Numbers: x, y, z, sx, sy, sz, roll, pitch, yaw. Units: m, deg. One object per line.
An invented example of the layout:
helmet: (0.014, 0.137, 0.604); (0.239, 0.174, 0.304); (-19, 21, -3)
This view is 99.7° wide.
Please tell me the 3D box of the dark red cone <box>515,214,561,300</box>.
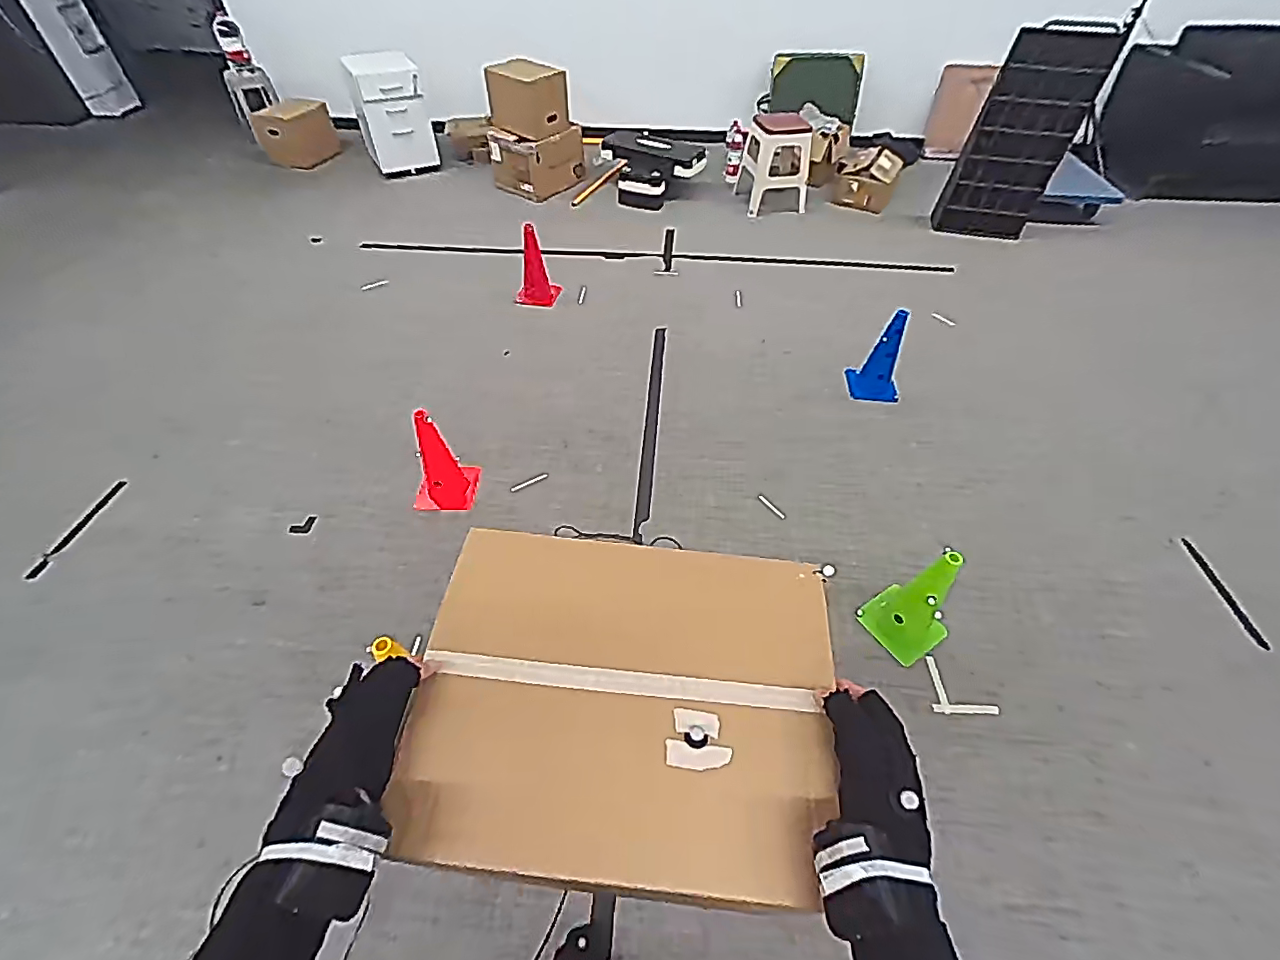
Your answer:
dark red cone: (-0.507, -1.077, 2.616); (0.201, 0.394, 0.202); (9, 50, 5)

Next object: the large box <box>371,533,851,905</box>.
large box: (-0.021, 0.290, 0.646); (0.408, 0.320, 0.320); (6, 52, 1)

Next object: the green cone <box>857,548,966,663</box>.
green cone: (0.778, 0.305, 1.466); (0.202, 0.368, 0.200); (-25, 55, -23)

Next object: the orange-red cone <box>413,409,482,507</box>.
orange-red cone: (-0.673, -0.090, 1.786); (0.198, 0.360, 0.199); (1, 50, 1)

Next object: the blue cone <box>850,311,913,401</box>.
blue cone: (1.012, -0.517, 2.208); (0.192, 0.380, 0.193); (7, 49, 3)
